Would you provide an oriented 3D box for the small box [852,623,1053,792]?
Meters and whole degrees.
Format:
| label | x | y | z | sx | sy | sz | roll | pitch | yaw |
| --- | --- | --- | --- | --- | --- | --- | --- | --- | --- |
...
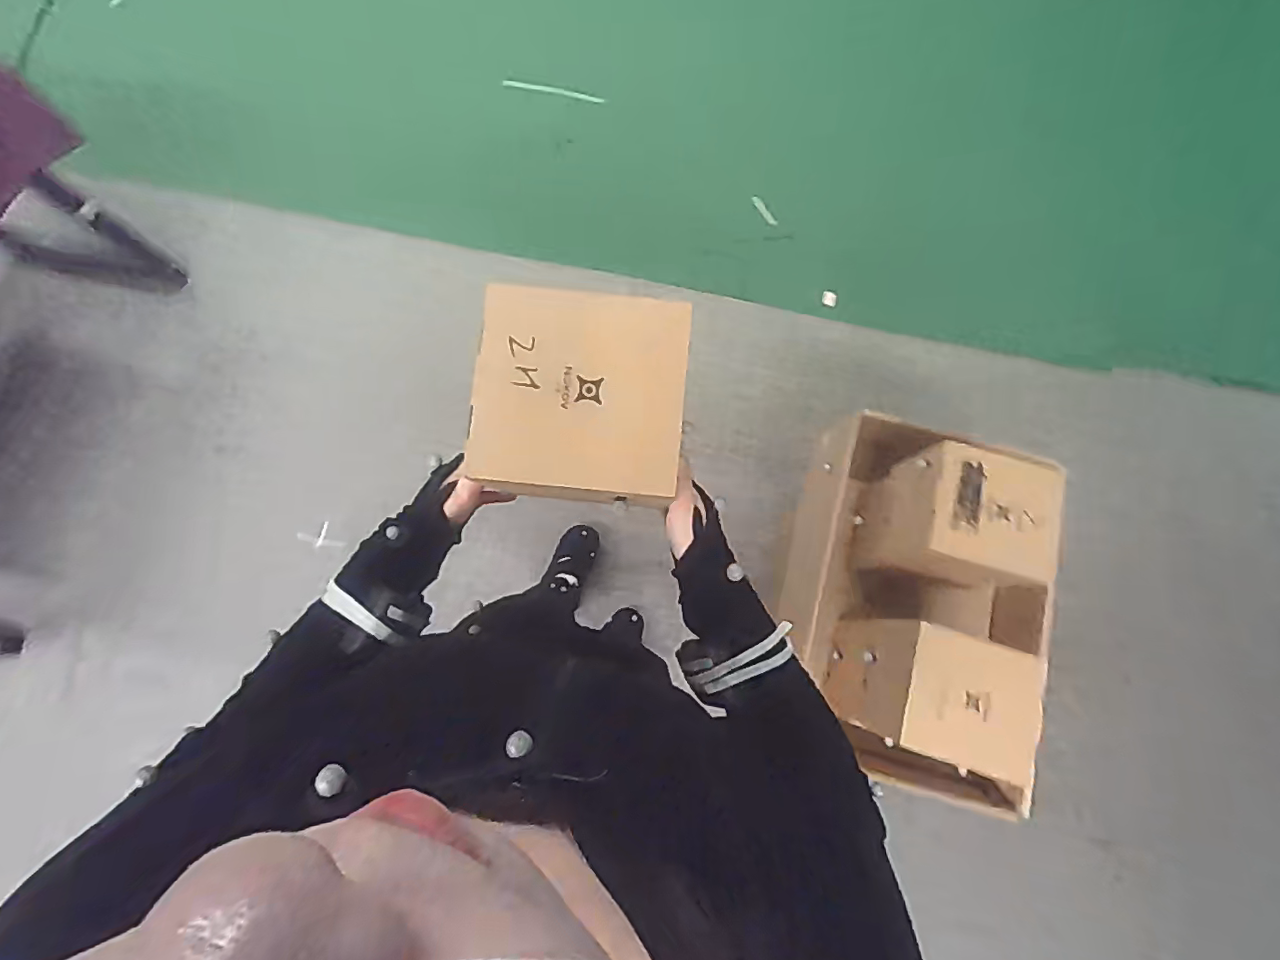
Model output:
| label | x | y | z | sx | sy | sz | roll | pitch | yaw |
| --- | --- | --- | --- | --- | --- | --- | --- | --- | --- |
| small box | 0.439 | 0.311 | 0.783 | 0.179 | 0.176 | 0.168 | 19 | 77 | 5 |

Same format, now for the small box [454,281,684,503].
| label | x | y | z | sx | sy | sz | roll | pitch | yaw |
| --- | --- | --- | --- | --- | --- | --- | --- | --- | --- |
| small box | -0.057 | -0.070 | 0.523 | 0.179 | 0.176 | 0.168 | 5 | 83 | 2 |
